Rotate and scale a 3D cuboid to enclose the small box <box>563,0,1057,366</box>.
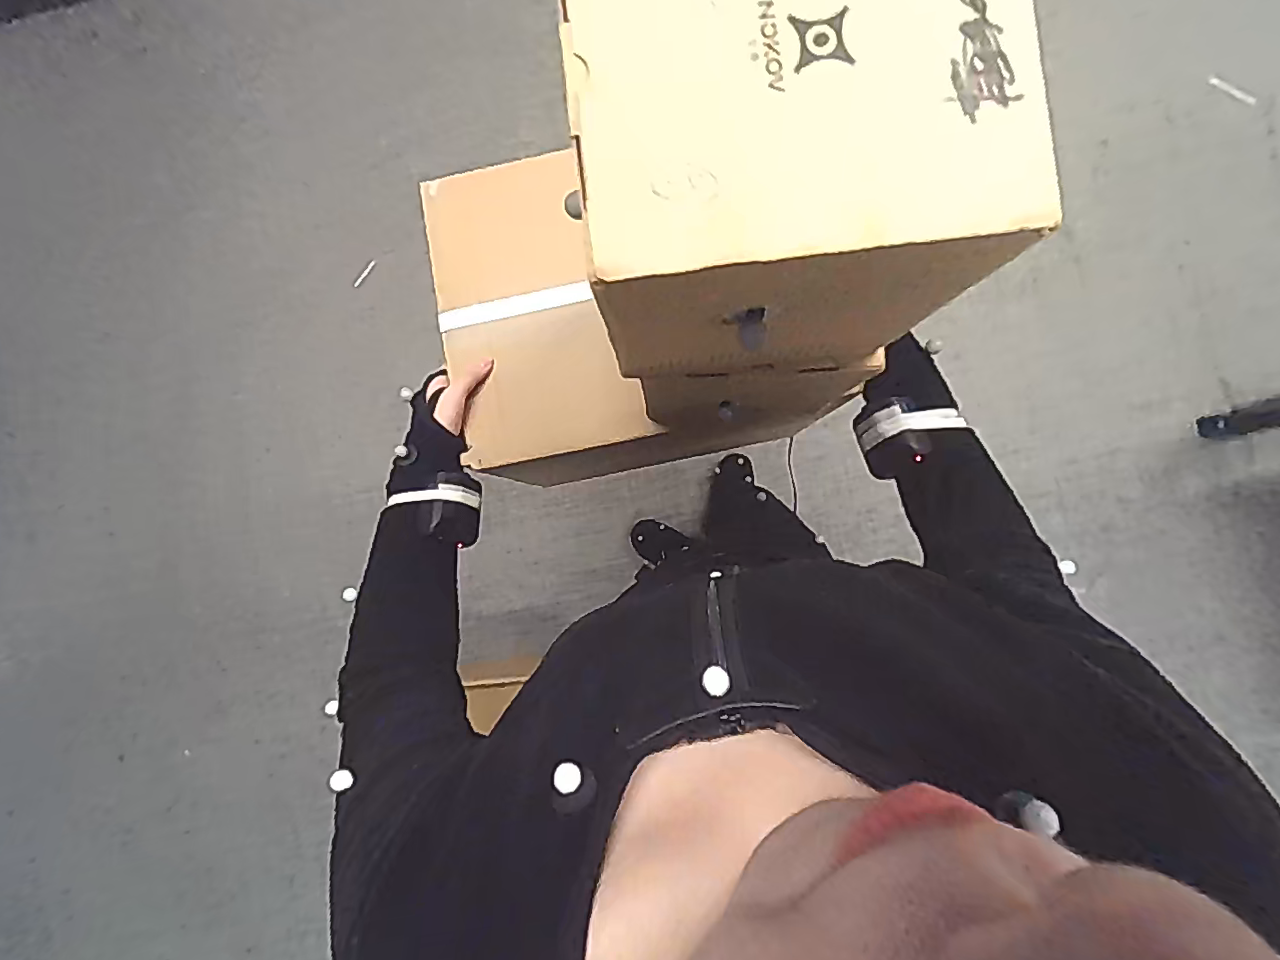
[{"bbox_3d":[0.065,-0.163,0.284,0.179,0.176,0.168,-5,89,3],"label":"small box"}]

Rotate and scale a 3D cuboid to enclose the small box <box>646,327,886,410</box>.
[{"bbox_3d":[0.086,-0.159,0.448,0.168,0.176,0.179,-1,89,3],"label":"small box"}]
